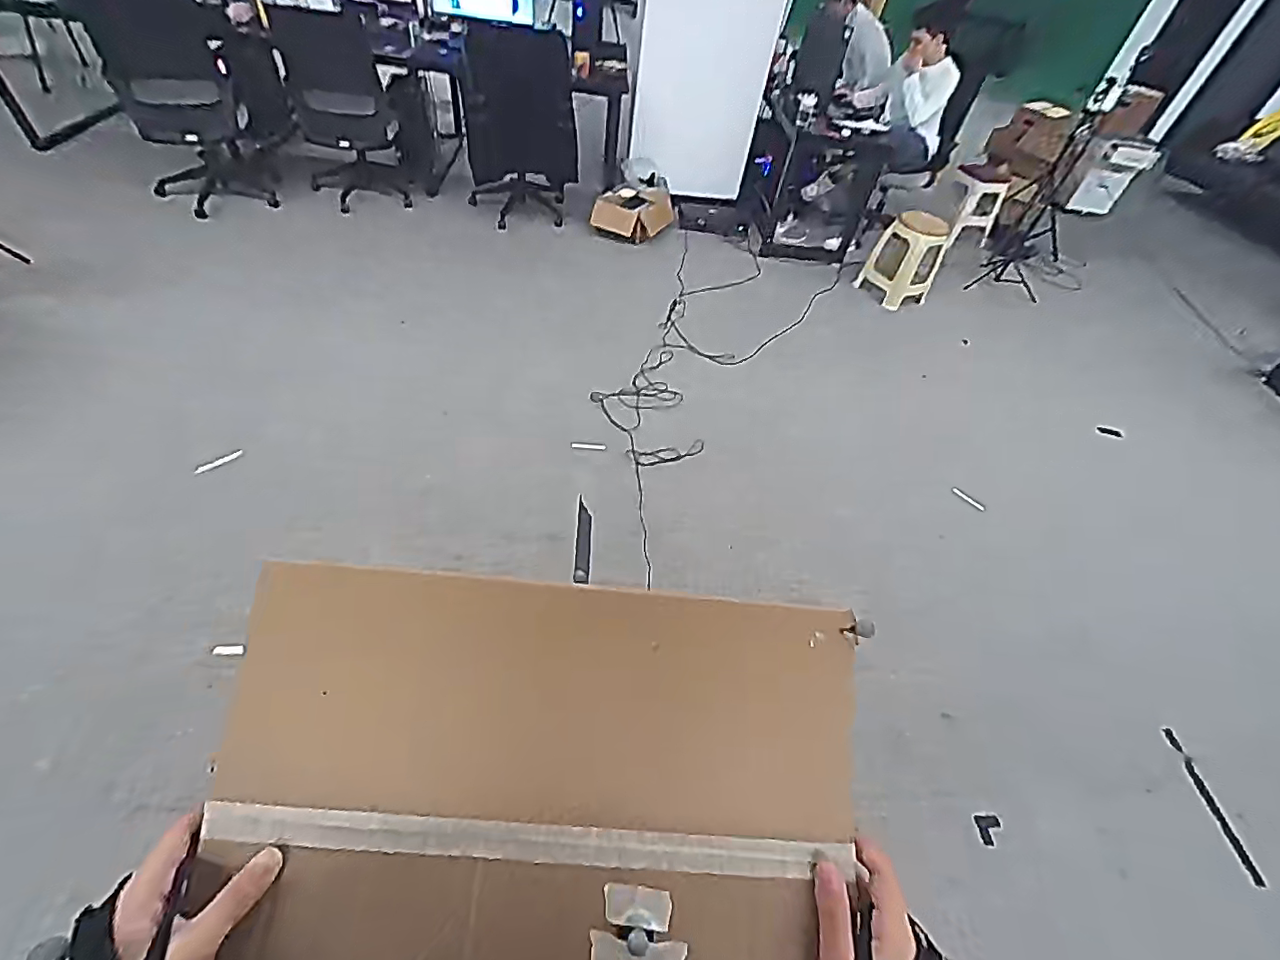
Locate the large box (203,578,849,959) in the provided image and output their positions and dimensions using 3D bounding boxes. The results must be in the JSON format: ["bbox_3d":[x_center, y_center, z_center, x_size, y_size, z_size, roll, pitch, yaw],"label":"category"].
[{"bbox_3d":[-0.071,0.266,0.495,0.408,0.320,0.320,6,78,-3],"label":"large box"}]
